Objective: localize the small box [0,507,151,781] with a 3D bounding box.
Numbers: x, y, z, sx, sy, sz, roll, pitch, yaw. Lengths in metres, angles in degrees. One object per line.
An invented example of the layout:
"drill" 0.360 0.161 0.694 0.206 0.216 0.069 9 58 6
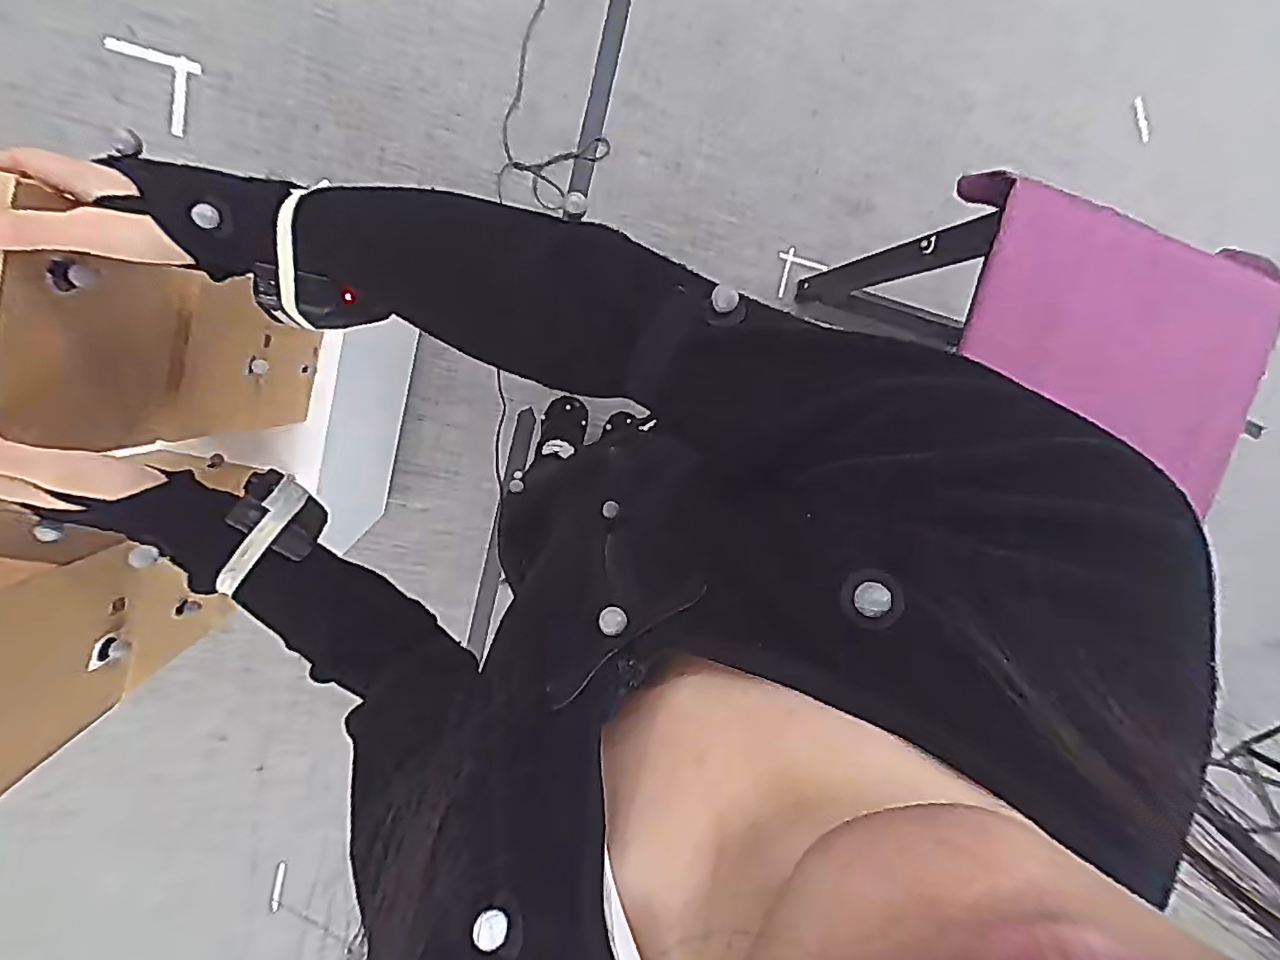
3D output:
"small box" -0.520 0.120 0.394 0.179 0.176 0.168 11 99 -14

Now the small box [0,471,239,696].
"small box" -0.551 0.094 0.552 0.179 0.176 0.168 11 97 -13

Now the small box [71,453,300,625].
"small box" -0.586 0.066 0.708 0.179 0.176 0.168 13 98 -13

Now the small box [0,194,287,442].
"small box" -0.483 -0.144 0.522 0.179 0.176 0.168 14 97 -15
